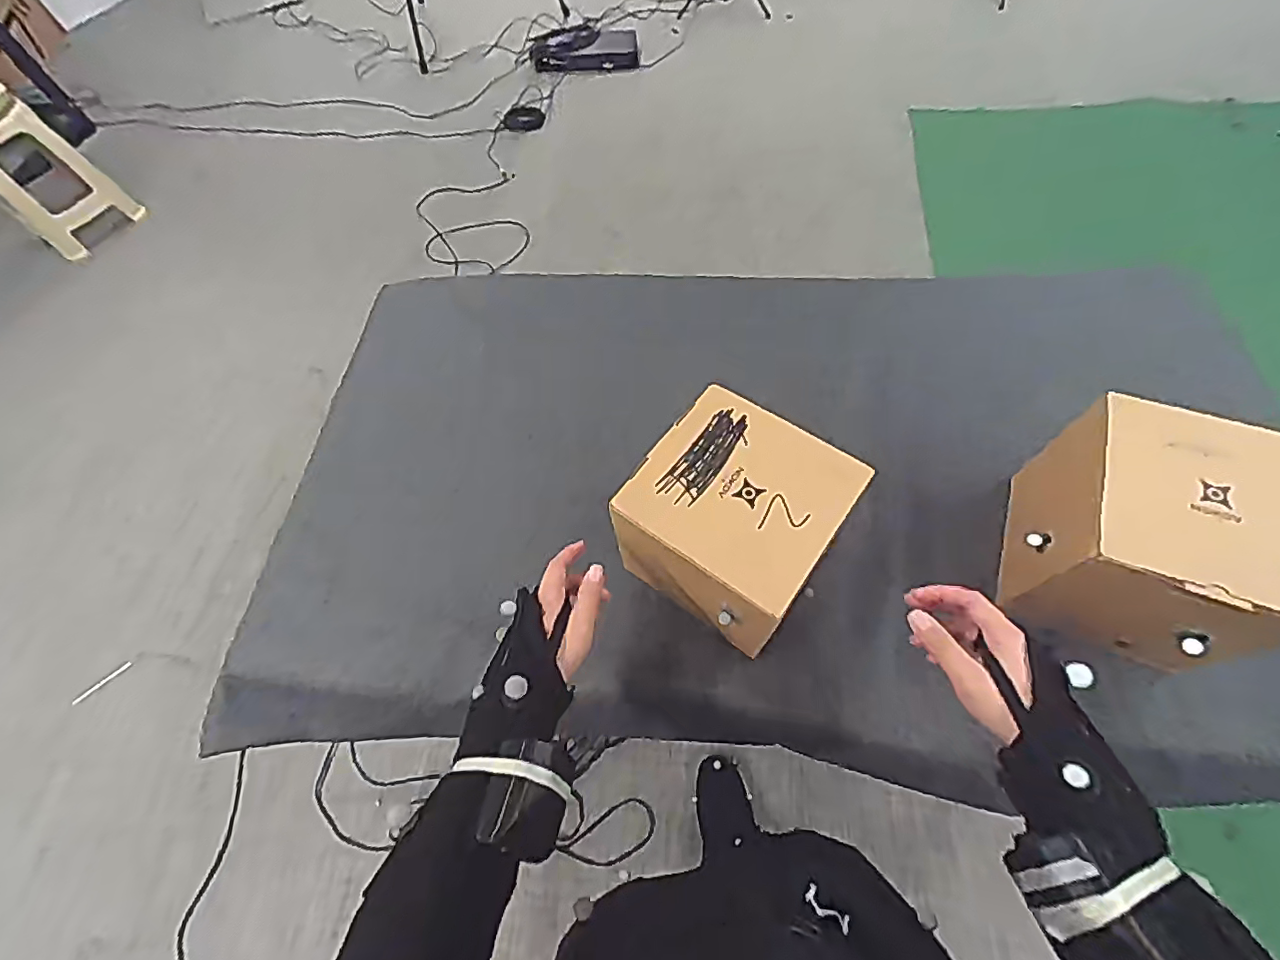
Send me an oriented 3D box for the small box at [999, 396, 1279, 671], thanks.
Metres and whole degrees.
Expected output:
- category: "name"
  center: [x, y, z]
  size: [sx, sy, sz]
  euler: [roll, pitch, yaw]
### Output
- category: "small box"
  center: [0.469, 0.057, 0.506]
  size: [0.168, 0.176, 0.179]
  euler: [19, 63, 14]
